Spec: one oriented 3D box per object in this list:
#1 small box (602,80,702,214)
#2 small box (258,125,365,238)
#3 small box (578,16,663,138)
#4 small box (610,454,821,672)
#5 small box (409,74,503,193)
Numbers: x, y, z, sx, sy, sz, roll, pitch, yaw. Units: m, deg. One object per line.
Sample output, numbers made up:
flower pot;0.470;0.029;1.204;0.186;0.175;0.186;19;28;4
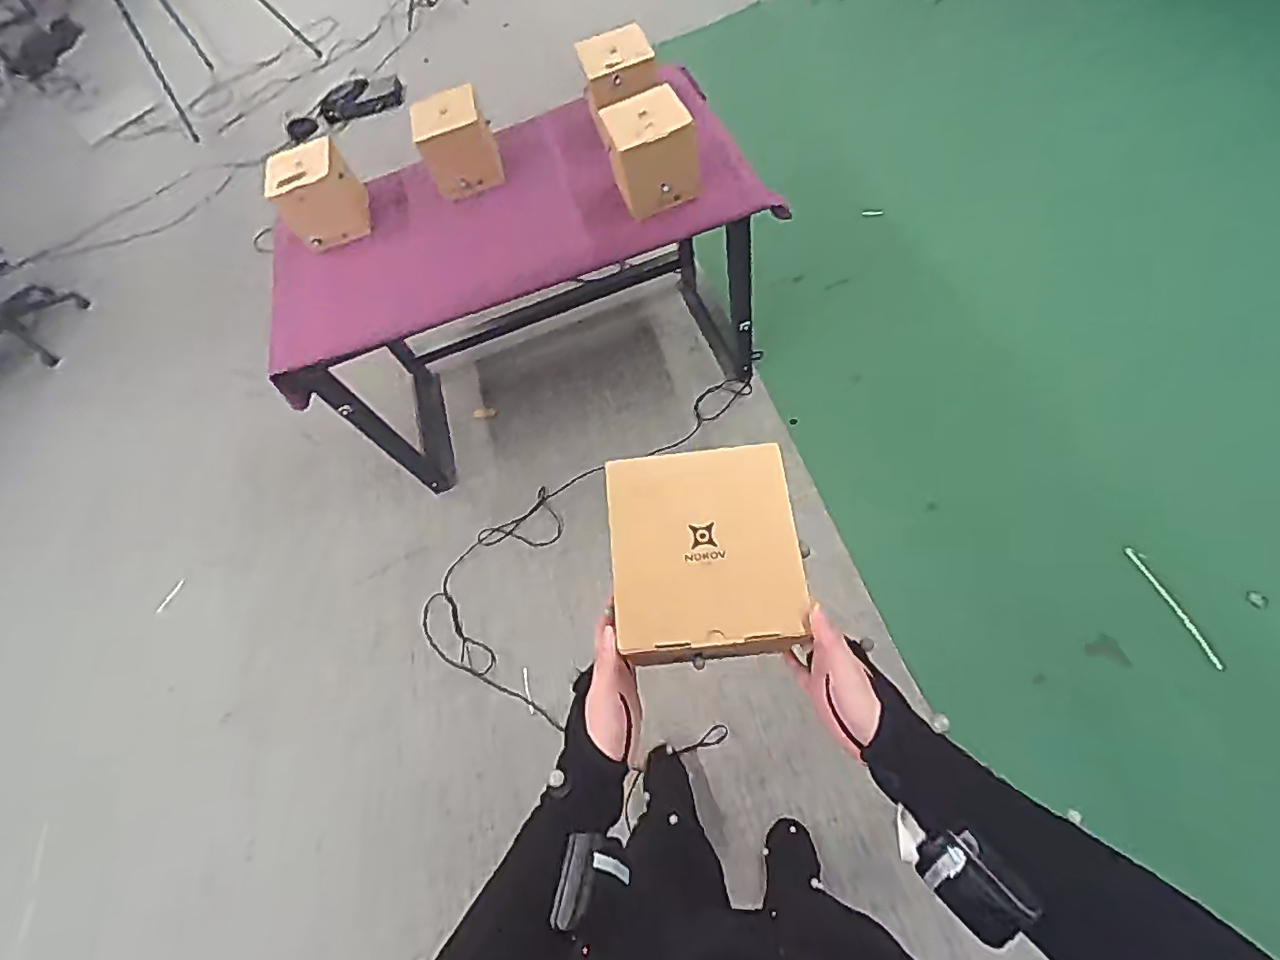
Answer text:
small box;0.030;-0.731;1.197;0.168;0.176;0.179;-20;62;2
small box;-0.815;-0.737;1.356;0.168;0.176;0.179;-17;63;1
small box;-0.042;-0.991;1.340;0.168;0.176;0.179;-18;62;2
small box;0.062;0.092;0.541;0.168;0.176;0.179;-6;70;1
small box;-0.459;-0.864;1.358;0.168;0.176;0.179;-16;63;3
